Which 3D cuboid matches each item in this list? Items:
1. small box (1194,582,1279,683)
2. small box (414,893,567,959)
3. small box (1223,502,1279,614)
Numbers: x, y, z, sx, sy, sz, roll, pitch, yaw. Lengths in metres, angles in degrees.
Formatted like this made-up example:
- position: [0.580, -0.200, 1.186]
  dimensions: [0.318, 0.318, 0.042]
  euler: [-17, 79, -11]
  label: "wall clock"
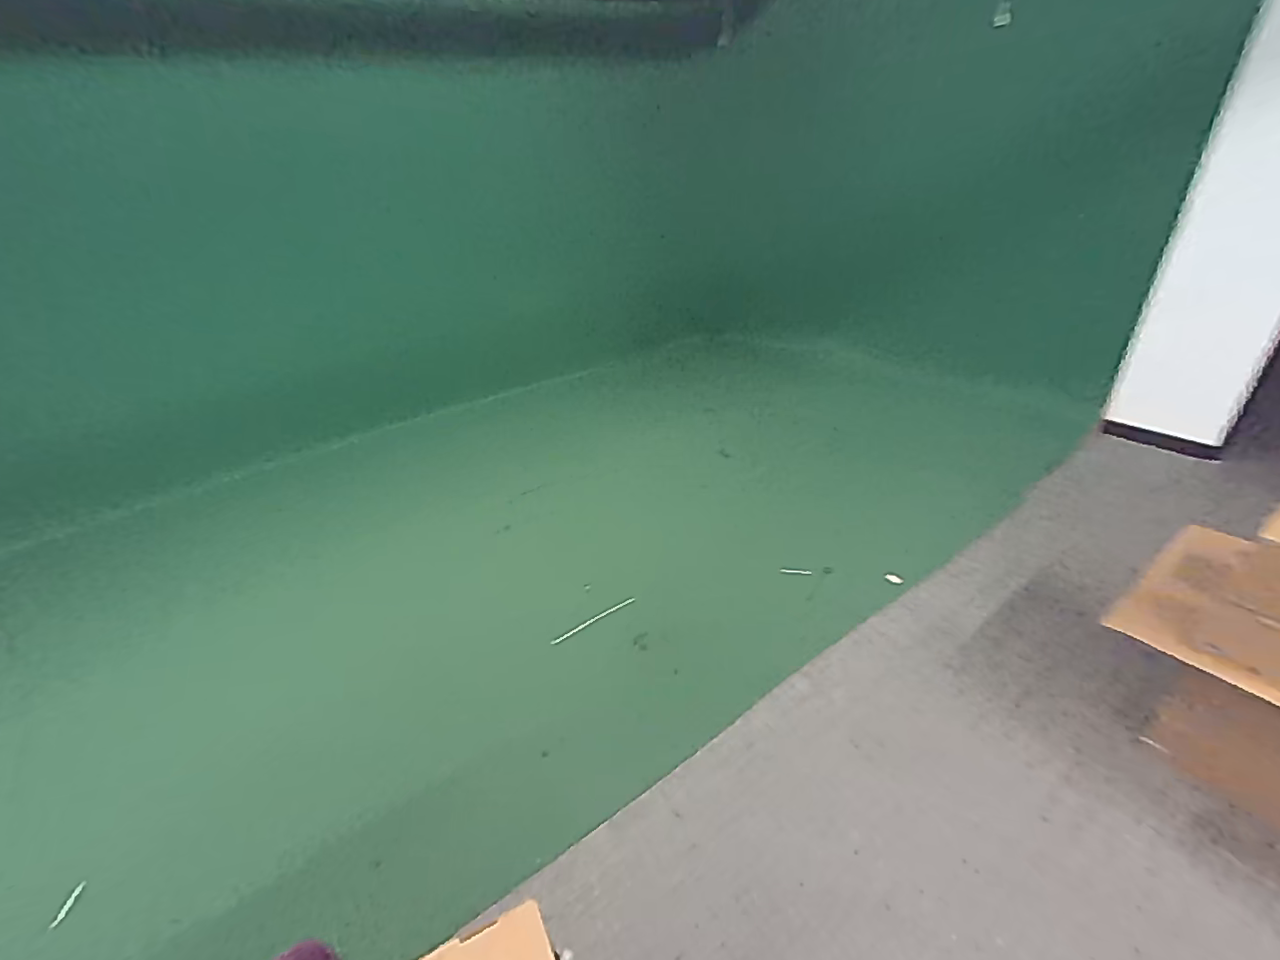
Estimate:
- position: [1.347, 0.301, 1.159]
  dimensions: [0.179, 0.176, 0.168]
  euler: [-23, 35, -26]
  label: "small box"
- position: [-0.113, 0.461, 0.393]
  dimensions: [0.168, 0.176, 0.179]
  euler: [-17, 39, -21]
  label: "small box"
- position: [1.320, 0.170, 1.063]
  dimensions: [0.168, 0.176, 0.179]
  euler: [-25, 36, -25]
  label: "small box"
